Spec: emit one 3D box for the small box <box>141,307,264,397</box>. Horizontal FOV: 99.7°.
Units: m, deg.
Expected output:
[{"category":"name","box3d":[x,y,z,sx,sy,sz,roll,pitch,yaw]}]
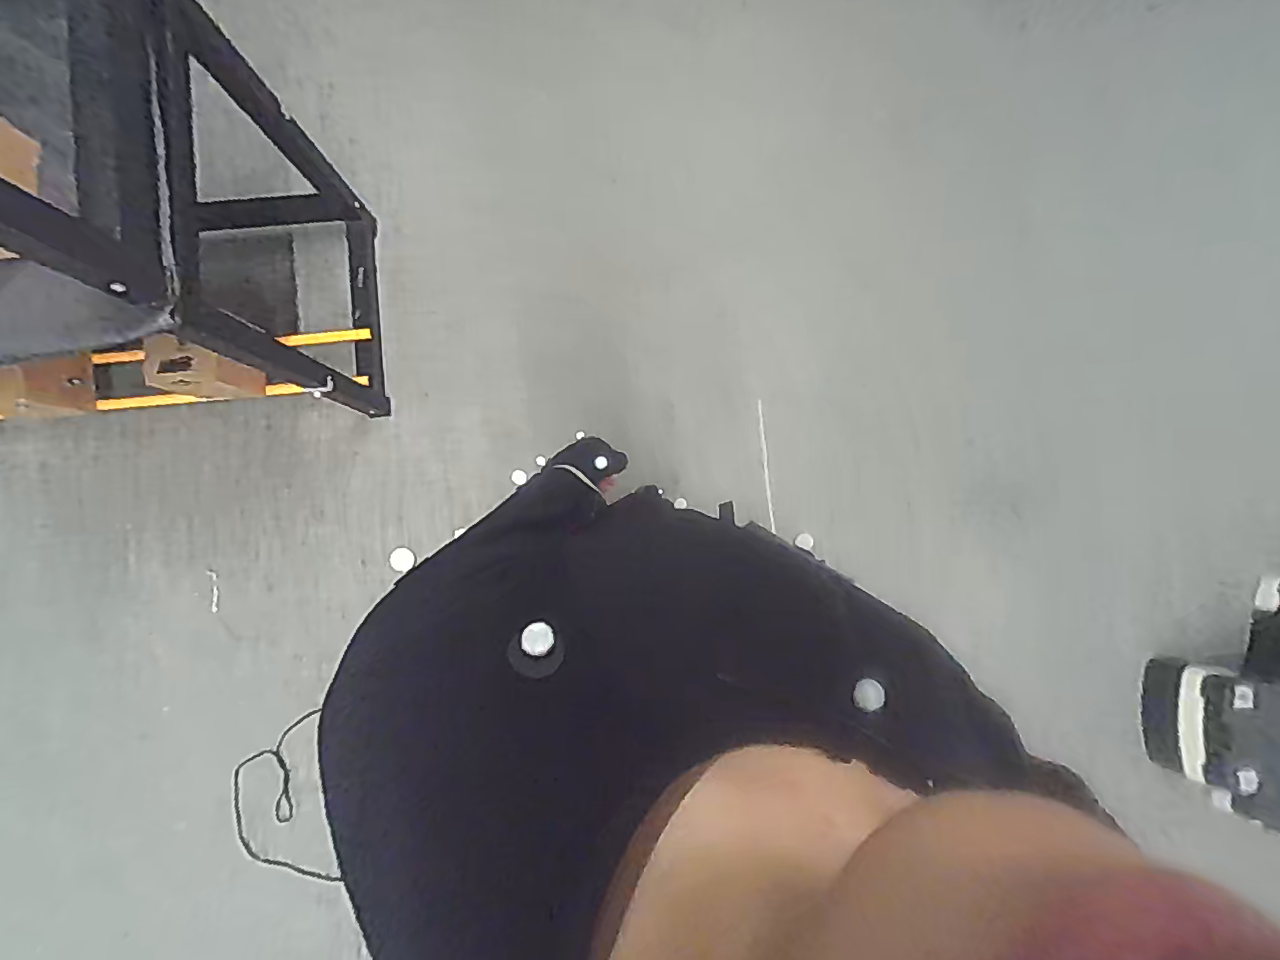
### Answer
[{"category":"small box","box3d":[-1.039,-0.299,1.297,0.168,0.176,0.179,-2,86,-2]}]
